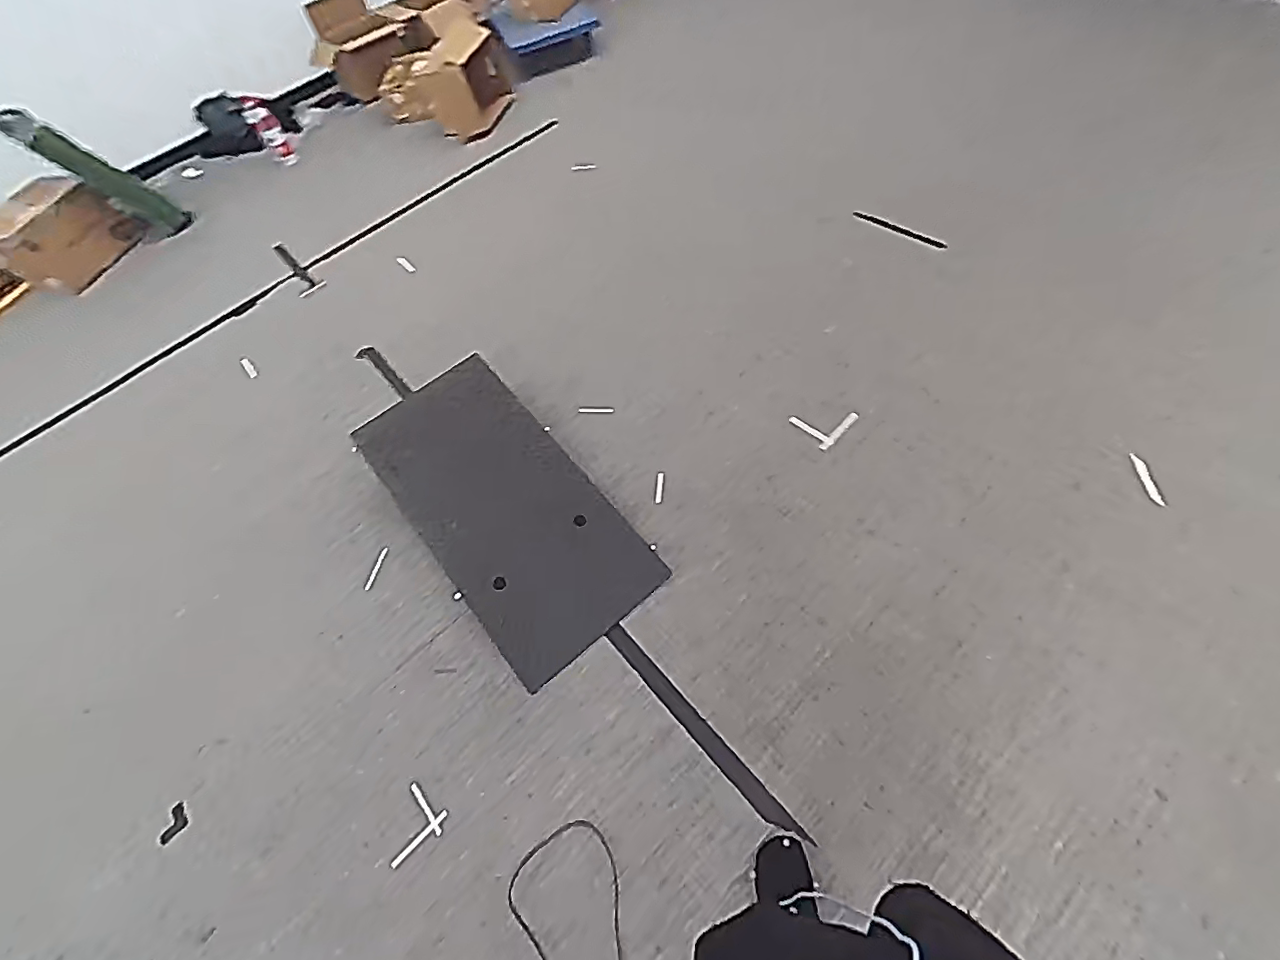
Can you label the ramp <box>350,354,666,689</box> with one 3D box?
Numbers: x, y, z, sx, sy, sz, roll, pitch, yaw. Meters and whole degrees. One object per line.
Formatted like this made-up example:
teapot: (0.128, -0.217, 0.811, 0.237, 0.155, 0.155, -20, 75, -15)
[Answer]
ramp: (-0.419, 0.059, 1.619, 0.509, 0.206, 0.991, -39, 61, -15)
